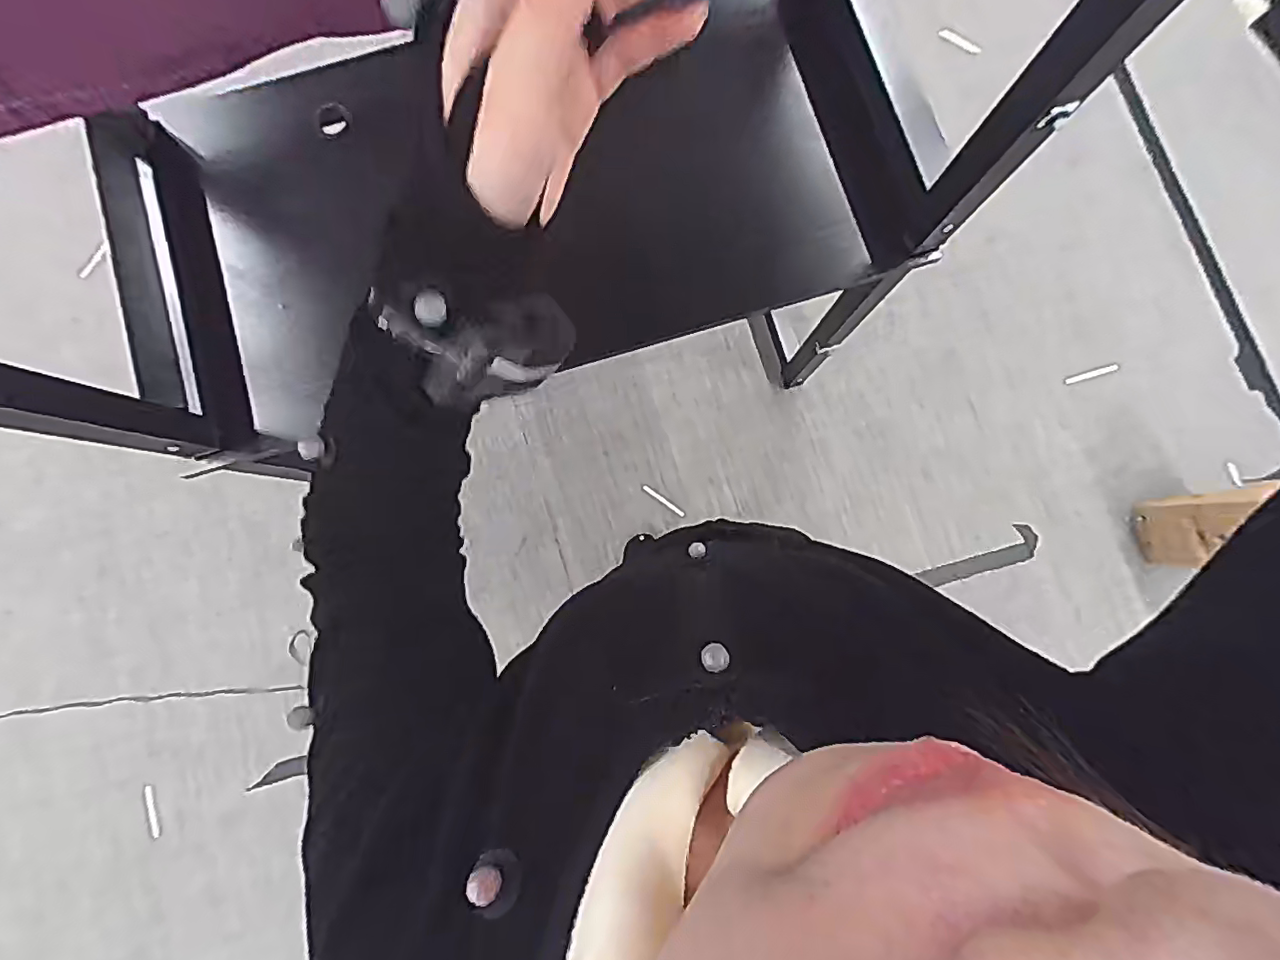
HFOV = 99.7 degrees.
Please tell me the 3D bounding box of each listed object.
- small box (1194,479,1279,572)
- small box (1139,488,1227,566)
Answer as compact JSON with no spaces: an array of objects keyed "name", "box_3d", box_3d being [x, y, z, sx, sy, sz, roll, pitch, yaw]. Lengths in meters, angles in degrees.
[{"name":"small box","box_3d":[1.455,0.100,1.240,0.168,0.176,0.179,-20,85,-1]},{"name":"small box","box_3d":[1.457,0.121,1.404,0.179,0.176,0.168,-15,85,-1]}]
